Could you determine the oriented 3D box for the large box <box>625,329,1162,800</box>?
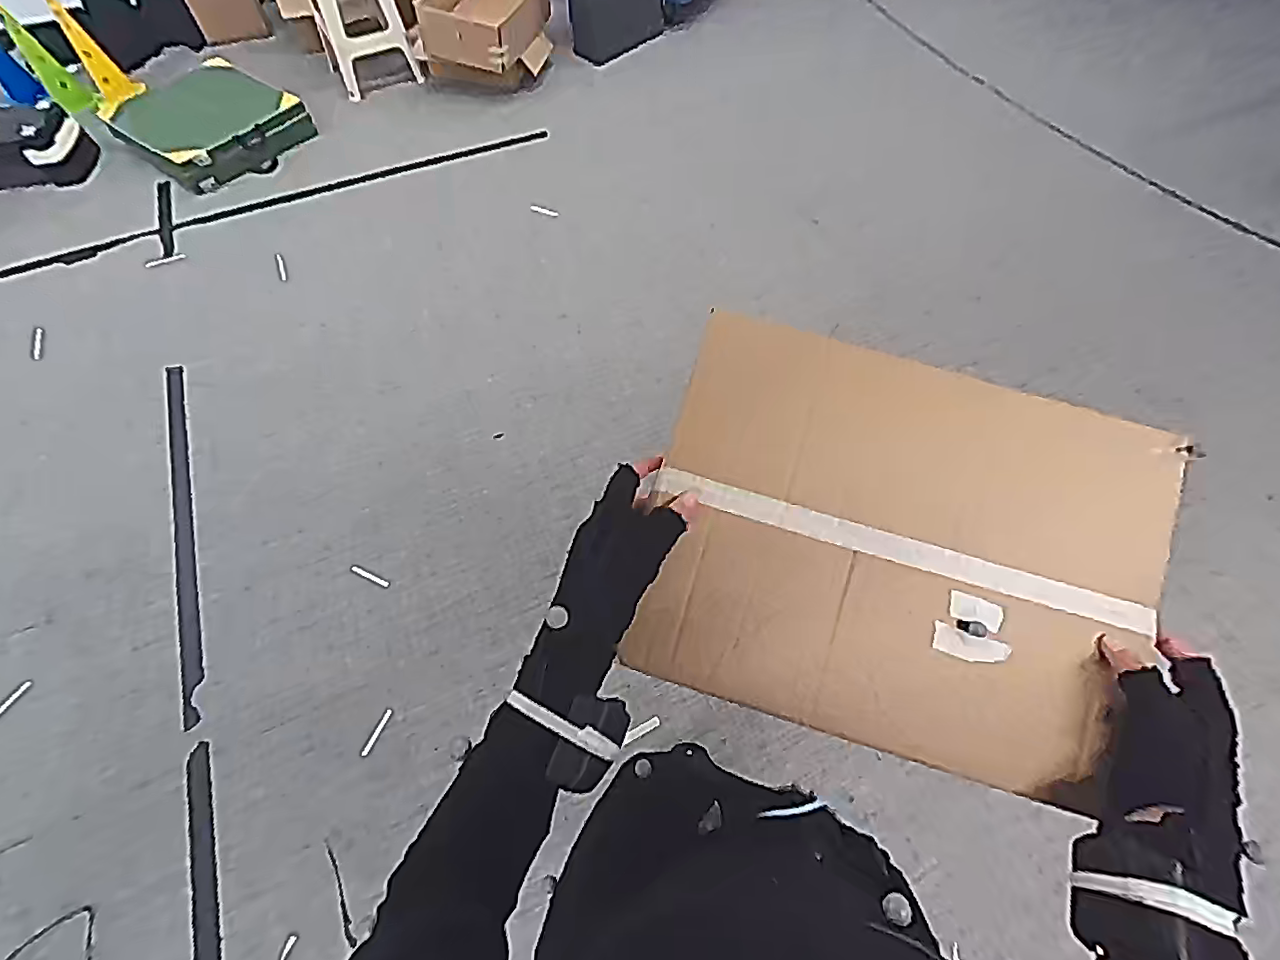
[{"bbox_3d":[0.220,0.077,0.608,0.408,0.320,0.320,17,86,4],"label":"large box"}]
